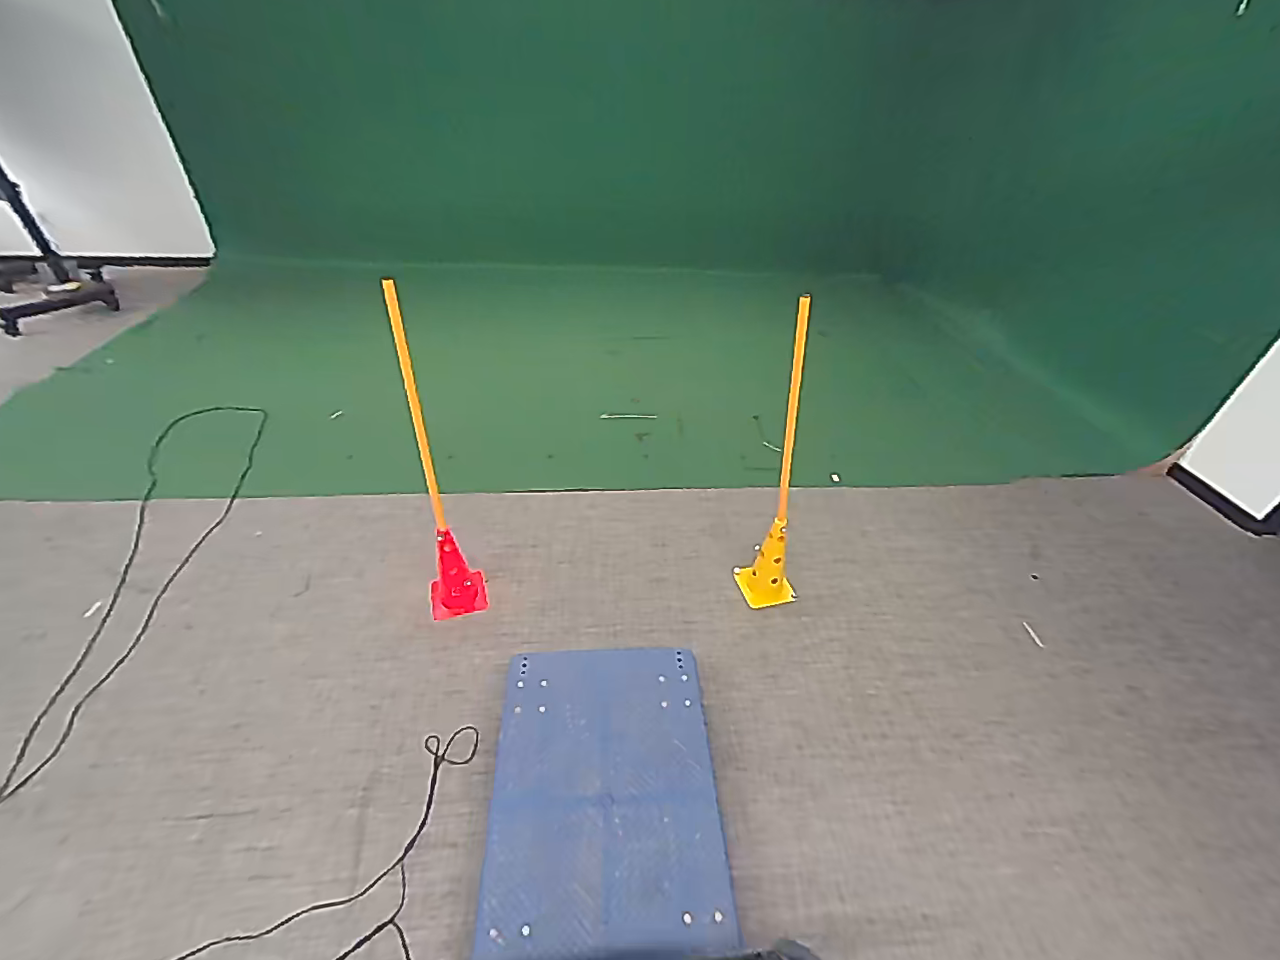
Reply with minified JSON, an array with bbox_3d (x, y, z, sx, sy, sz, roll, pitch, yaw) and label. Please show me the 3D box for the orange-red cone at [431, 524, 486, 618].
[{"bbox_3d":[-0.685,0.298,1.940,0.199,0.360,0.198,-12,41,-15],"label":"orange-red cone"}]
